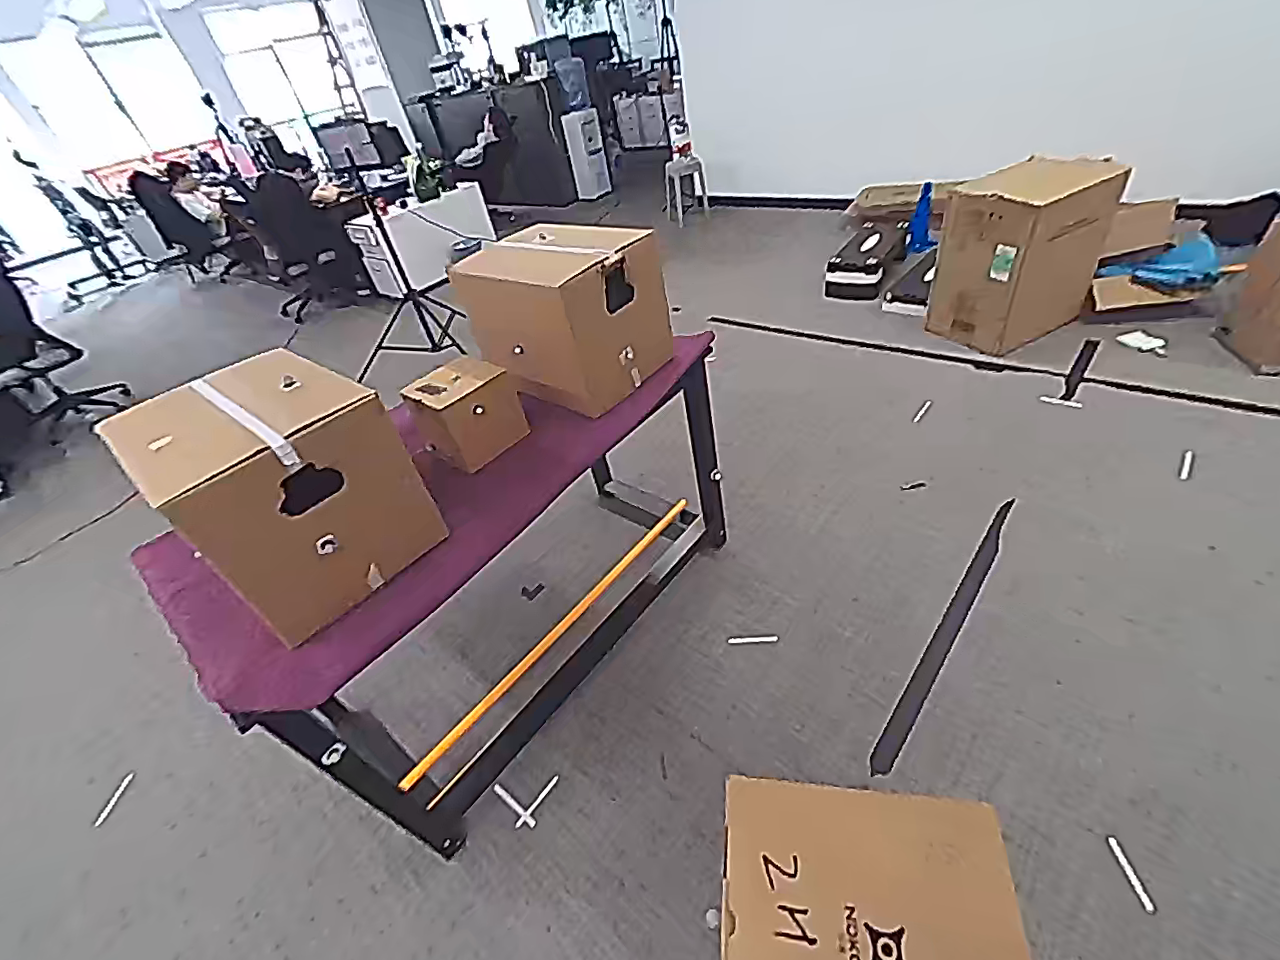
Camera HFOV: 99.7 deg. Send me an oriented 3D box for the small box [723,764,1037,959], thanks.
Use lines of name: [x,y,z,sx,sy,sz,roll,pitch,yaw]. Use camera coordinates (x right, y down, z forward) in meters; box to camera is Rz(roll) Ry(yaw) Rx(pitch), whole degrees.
small box: [0.149,0.316,0.379,0.179,0.176,0.168,0,51,11]

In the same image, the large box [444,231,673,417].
large box: [-0.184,-0.392,1.315,0.408,0.320,0.320,21,49,36]
